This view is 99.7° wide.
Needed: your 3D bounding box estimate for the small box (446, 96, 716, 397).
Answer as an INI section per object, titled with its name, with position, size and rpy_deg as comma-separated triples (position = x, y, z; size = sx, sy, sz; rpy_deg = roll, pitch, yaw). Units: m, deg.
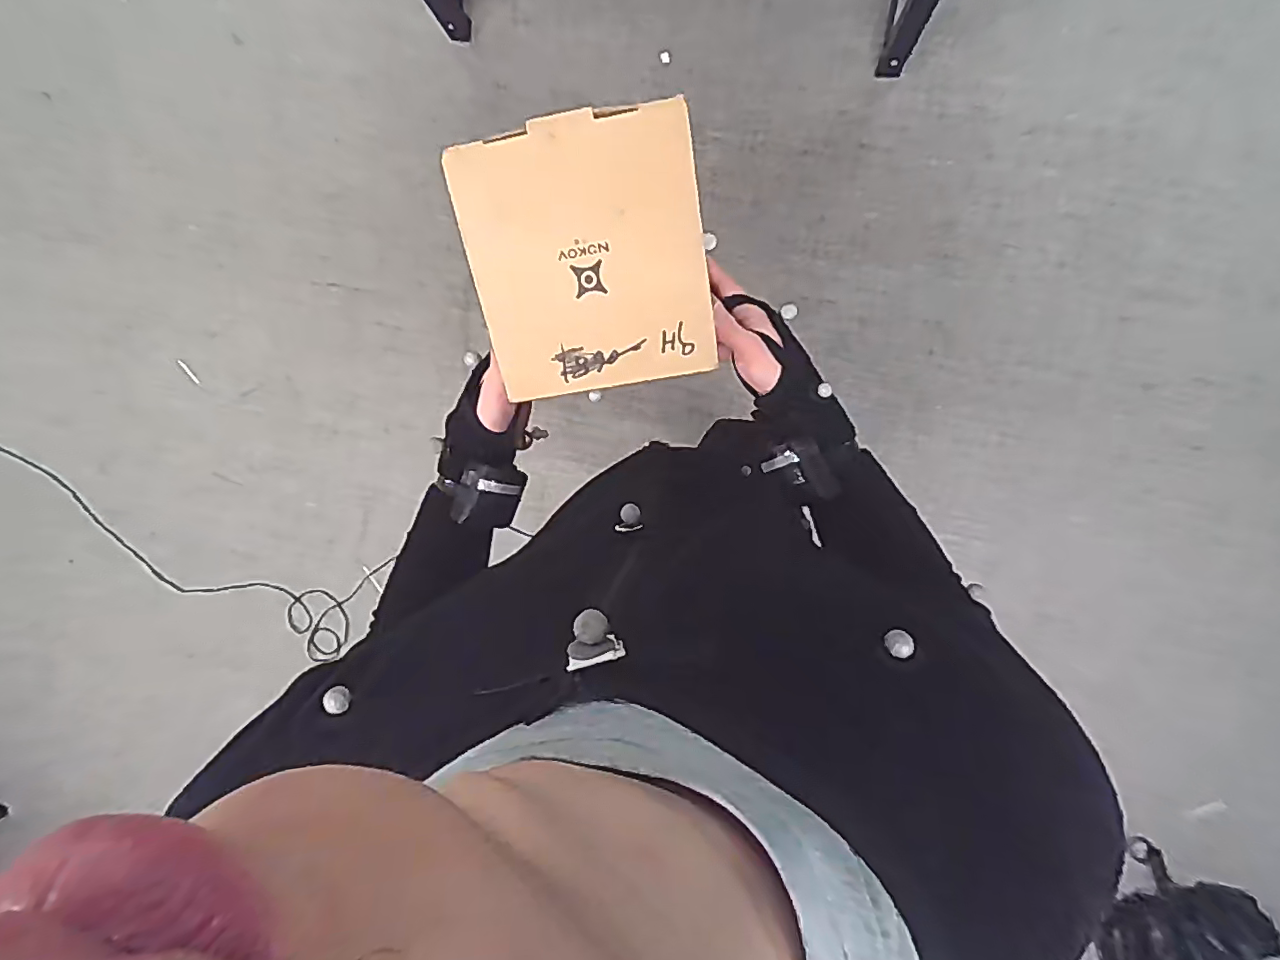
[small box]
position = -0.031, -0.184, 0.452
size = 0.168, 0.176, 0.179
rpy_deg = -7, 113, 8
